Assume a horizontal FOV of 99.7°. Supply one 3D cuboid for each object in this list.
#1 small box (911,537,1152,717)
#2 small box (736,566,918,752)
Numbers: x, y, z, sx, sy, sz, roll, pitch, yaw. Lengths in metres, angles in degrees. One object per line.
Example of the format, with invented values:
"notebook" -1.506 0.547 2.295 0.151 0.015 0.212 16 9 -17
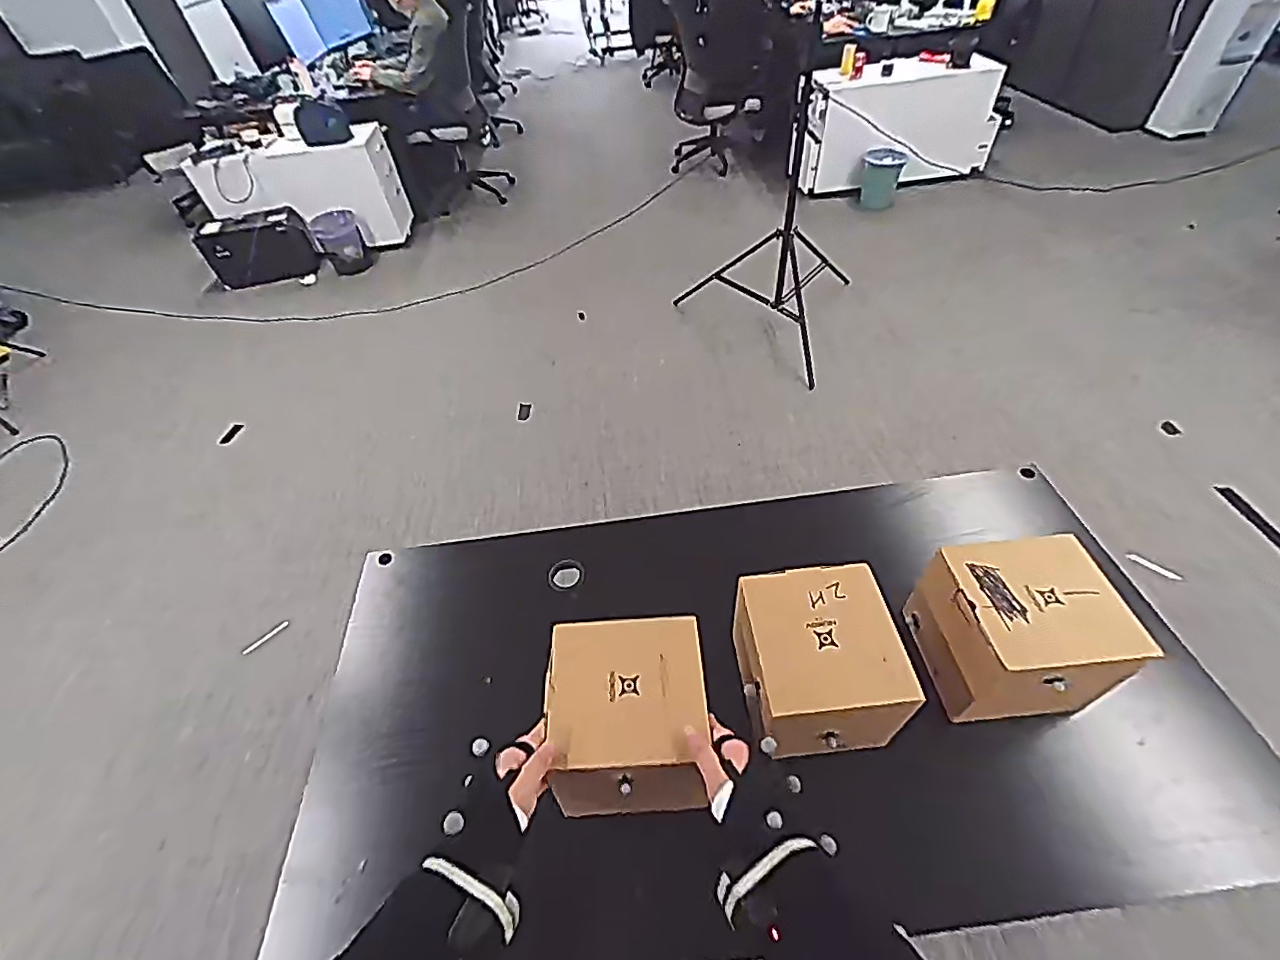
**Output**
"small box" 0.481 0.196 0.707 0.179 0.176 0.168 -6 48 0
"small box" 0.223 0.236 0.698 0.168 0.176 0.179 -6 48 0
